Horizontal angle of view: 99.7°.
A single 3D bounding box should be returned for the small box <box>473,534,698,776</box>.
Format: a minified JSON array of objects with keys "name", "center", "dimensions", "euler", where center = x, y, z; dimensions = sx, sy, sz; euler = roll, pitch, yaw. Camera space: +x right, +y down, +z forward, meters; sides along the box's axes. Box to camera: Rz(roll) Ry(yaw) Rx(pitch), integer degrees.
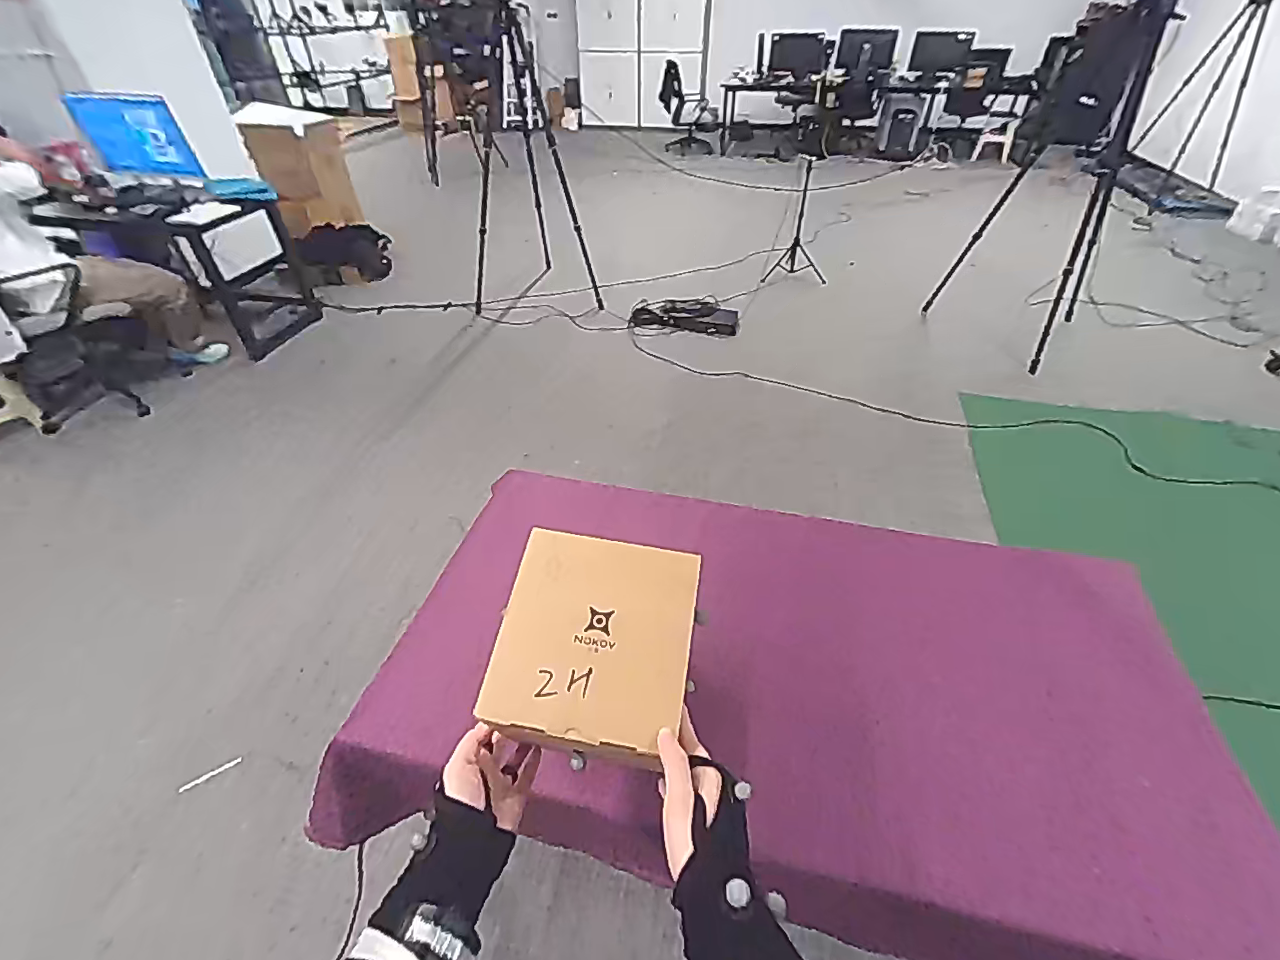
[{"name":"small box","center":[-0.042,0.178,0.535],"dimensions":[0.168,0.176,0.179],"euler":[9,59,5]}]
